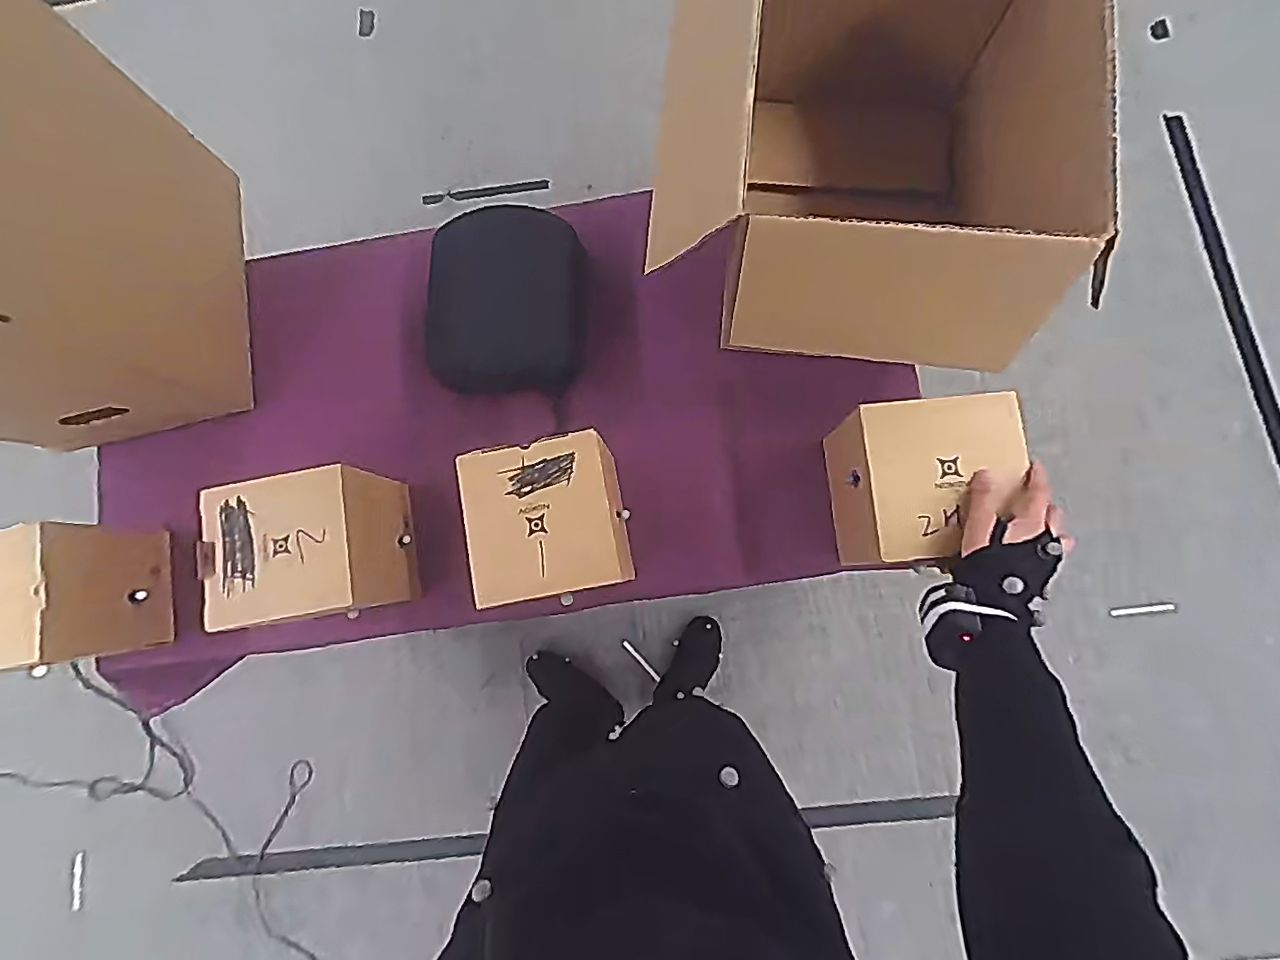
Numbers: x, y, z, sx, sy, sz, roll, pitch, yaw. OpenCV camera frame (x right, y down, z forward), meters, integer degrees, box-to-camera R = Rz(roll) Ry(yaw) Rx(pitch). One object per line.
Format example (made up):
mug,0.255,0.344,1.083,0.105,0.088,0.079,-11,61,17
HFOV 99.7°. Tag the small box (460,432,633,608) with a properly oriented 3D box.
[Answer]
small box,-0.107,0.056,0.679,0.168,0.176,0.179,-11,81,3

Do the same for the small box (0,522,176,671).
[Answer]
small box,-0.773,0.158,0.717,0.179,0.176,0.168,-11,80,2

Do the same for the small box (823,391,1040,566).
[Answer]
small box,0.328,0.009,0.648,0.168,0.176,0.179,-5,80,5
